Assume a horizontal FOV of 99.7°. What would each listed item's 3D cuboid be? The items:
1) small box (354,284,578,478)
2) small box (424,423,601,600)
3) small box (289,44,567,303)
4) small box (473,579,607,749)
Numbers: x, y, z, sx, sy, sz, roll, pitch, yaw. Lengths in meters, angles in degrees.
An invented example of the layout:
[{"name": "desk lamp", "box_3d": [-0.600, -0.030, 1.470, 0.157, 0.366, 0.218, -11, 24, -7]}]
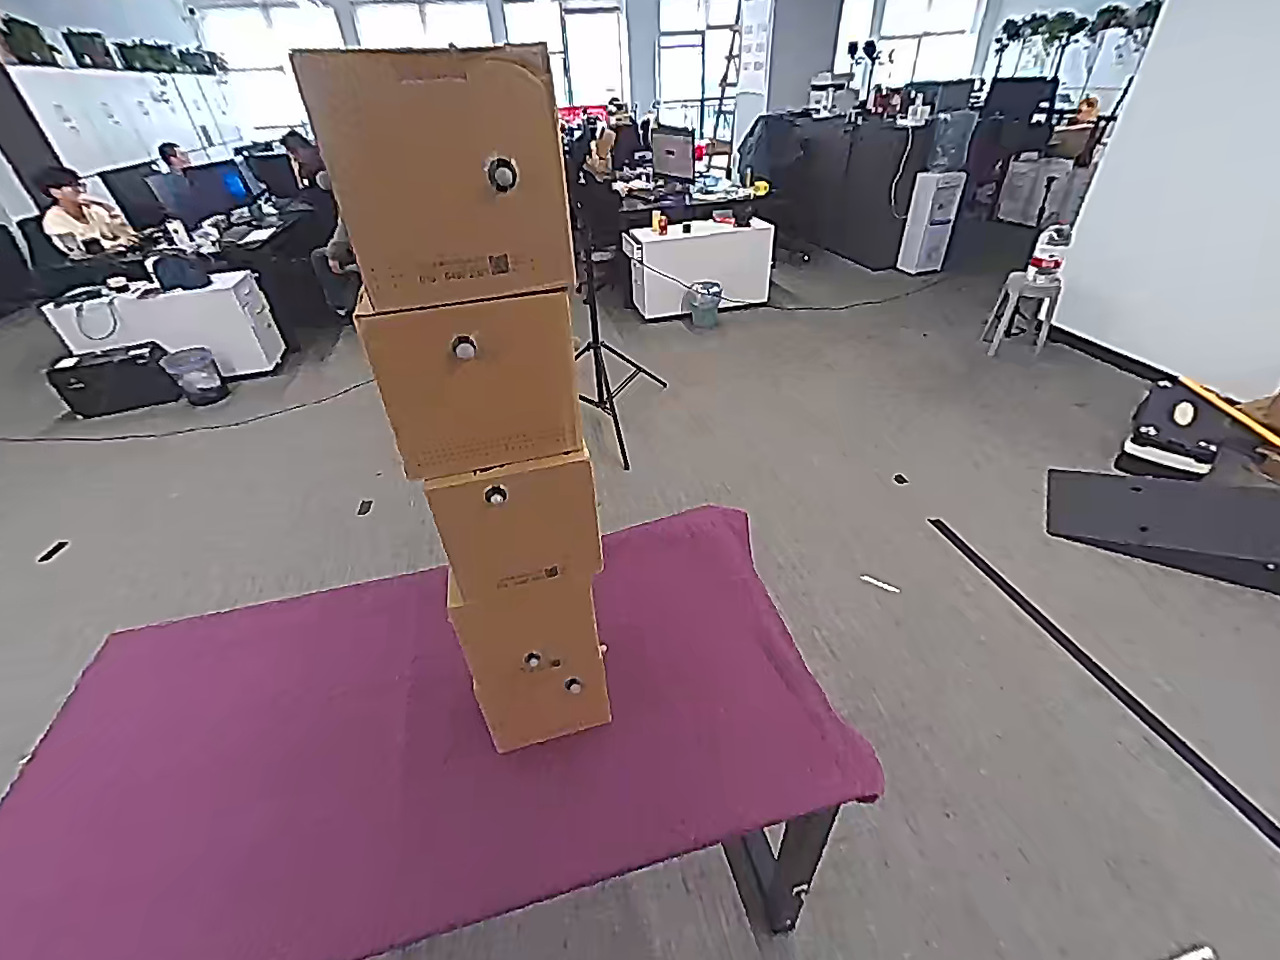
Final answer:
[{"name": "small box", "box_3d": [-0.165, -0.124, 0.557, 0.179, 0.176, 0.168, -12, 37, -12]}, {"name": "small box", "box_3d": [-0.147, 0.012, 0.645, 0.168, 0.176, 0.179, -12, 37, -11]}, {"name": "small box", "box_3d": [-0.164, -0.259, 0.465, 0.168, 0.176, 0.179, -12, 36, -13]}, {"name": "small box", "box_3d": [-0.151, 0.279, 0.835, 0.179, 0.176, 0.168, -12, 37, -11]}]
